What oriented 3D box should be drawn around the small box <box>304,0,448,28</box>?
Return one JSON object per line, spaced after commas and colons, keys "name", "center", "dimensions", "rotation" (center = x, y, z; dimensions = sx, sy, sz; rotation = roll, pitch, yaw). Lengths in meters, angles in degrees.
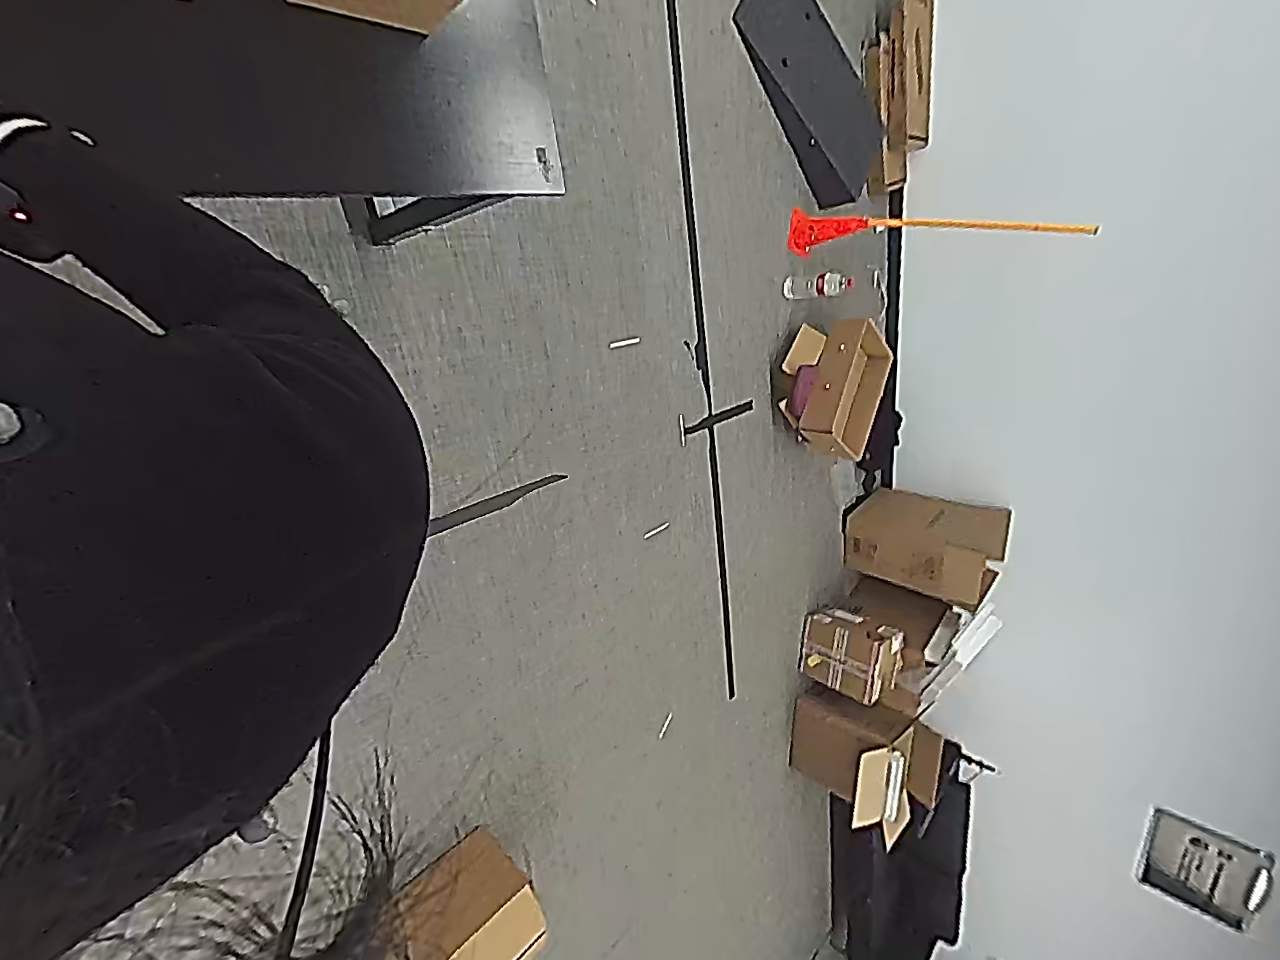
{"name": "small box", "center": [-0.300, -0.639, 0.591], "dimensions": [0.179, 0.176, 0.168], "rotation": [-24, 115, -40]}
